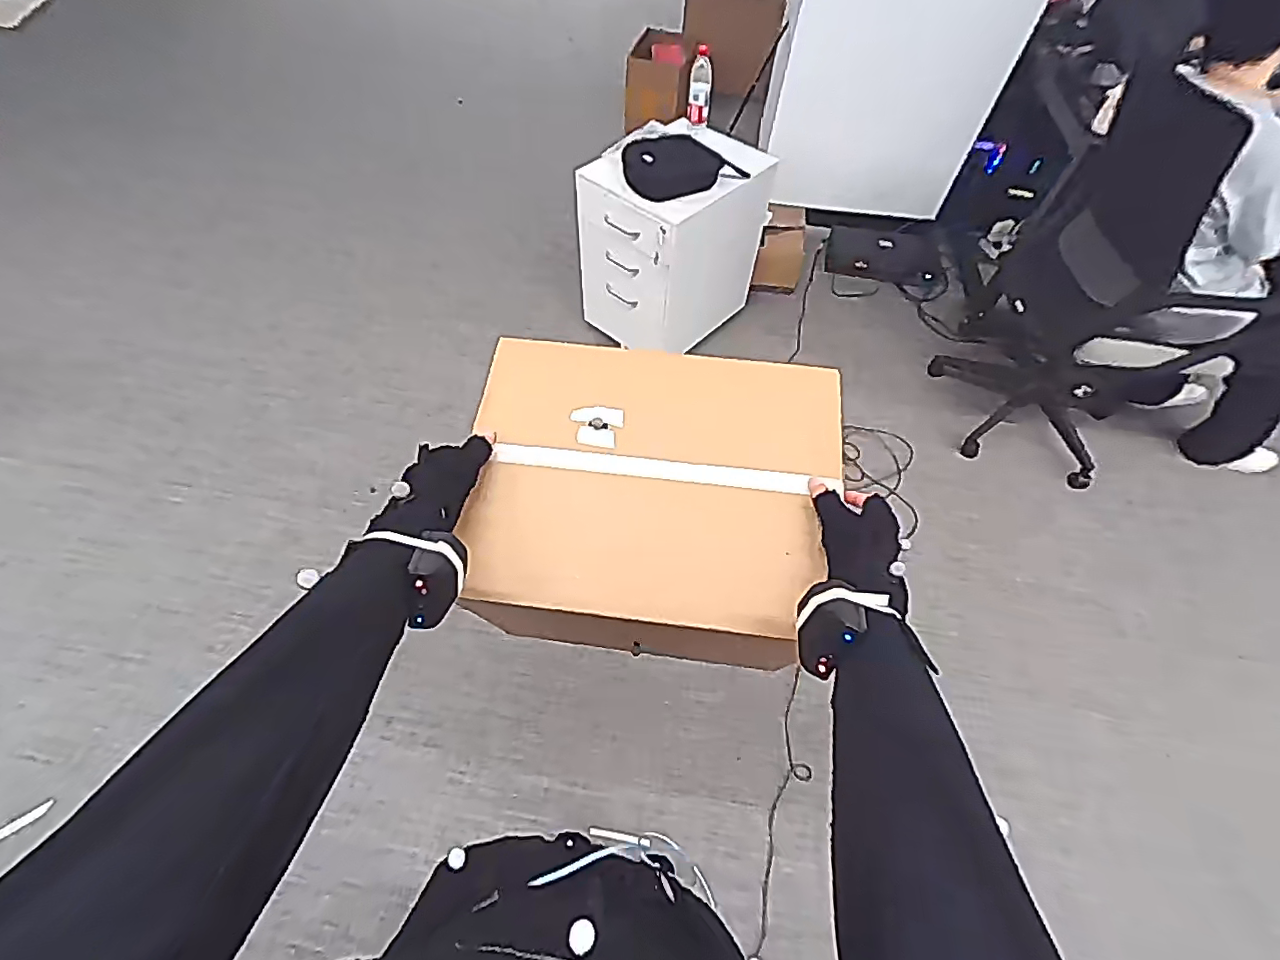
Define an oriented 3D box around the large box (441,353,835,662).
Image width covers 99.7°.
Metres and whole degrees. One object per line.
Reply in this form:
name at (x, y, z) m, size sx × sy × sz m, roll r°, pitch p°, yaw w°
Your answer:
large box at (0.014, 0.058, 0.731) m, size 0.408 × 0.320 × 0.320 m, roll 6°, pitch 66°, yaw 4°
